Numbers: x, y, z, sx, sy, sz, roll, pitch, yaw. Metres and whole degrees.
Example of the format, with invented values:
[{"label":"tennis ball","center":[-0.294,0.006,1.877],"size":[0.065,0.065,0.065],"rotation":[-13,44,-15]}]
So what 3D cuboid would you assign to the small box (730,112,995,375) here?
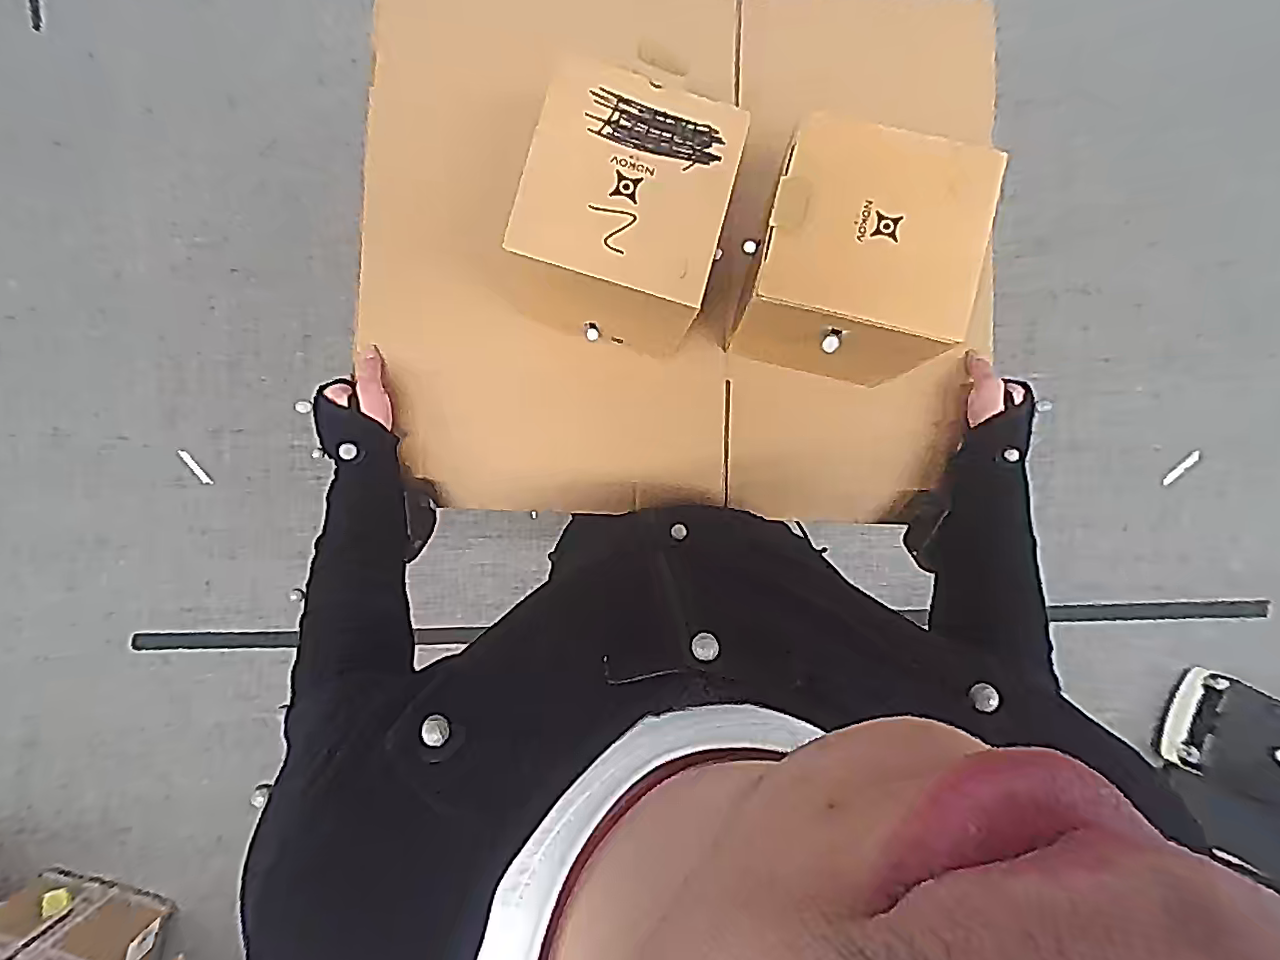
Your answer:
[{"label":"small box","center":[0.199,-0.213,0.535],"size":[0.179,0.176,0.168],"rotation":[14,88,3]}]
